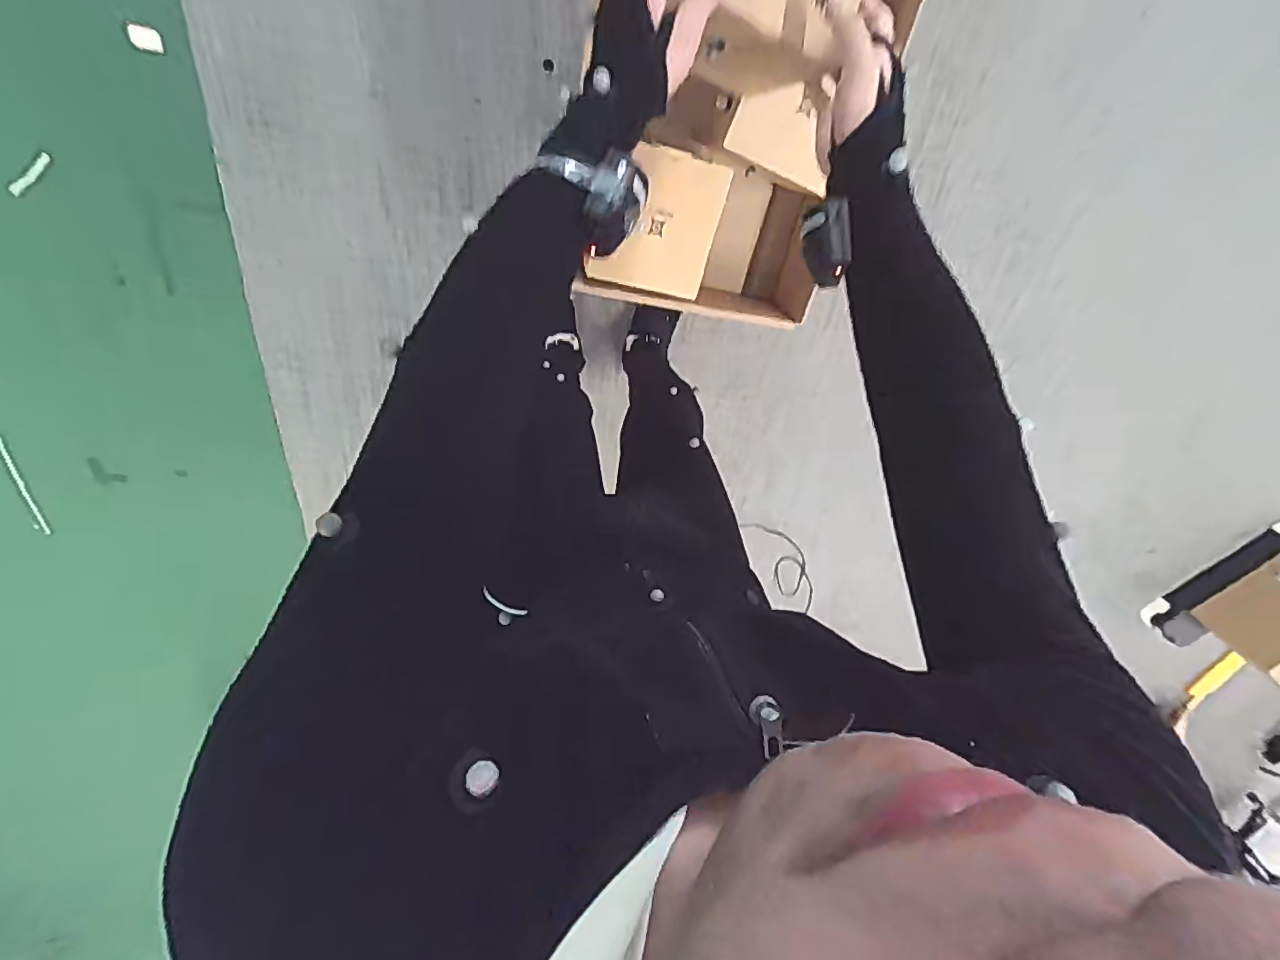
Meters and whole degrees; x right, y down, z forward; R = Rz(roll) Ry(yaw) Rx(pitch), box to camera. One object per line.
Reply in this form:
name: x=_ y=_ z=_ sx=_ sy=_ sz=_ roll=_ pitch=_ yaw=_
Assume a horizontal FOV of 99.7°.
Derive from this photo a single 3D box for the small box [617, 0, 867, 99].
small box: x=0.100 y=-0.480 z=0.497 sx=0.179 sy=0.176 sz=0.168 roll=8 pitch=113 yaw=-25
